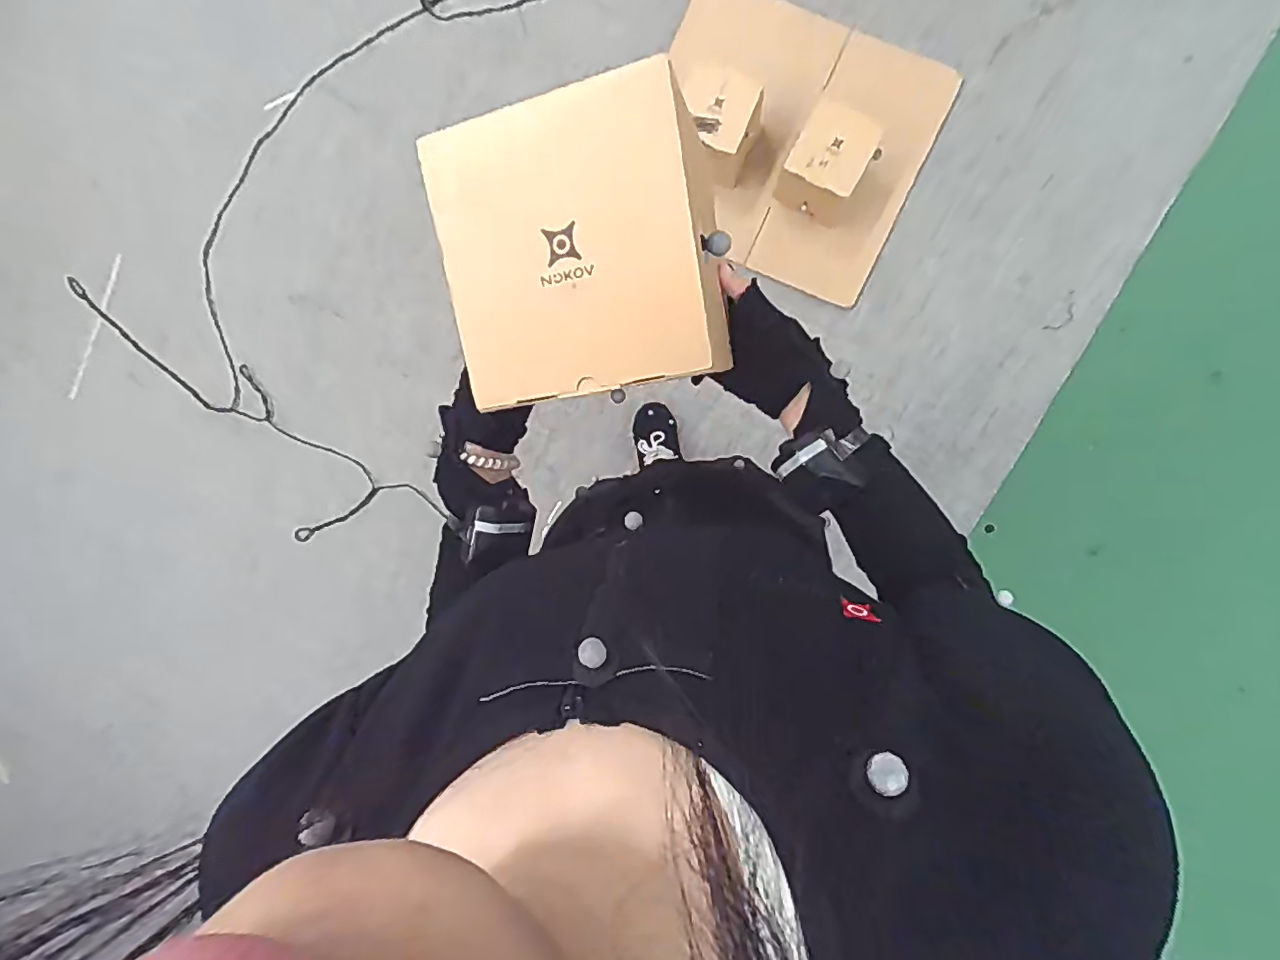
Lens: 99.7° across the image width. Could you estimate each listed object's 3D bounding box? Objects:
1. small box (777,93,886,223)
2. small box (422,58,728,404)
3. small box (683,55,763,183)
[{"bbox_3d":[0.439,-0.749,1.277,0.168,0.176,0.179,29,99,4],"label":"small box"},{"bbox_3d":[-0.029,-0.161,0.412,0.168,0.176,0.179,-7,102,15],"label":"small box"},{"bbox_3d":[0.179,-0.852,1.296,0.168,0.176,0.179,23,97,4],"label":"small box"}]
